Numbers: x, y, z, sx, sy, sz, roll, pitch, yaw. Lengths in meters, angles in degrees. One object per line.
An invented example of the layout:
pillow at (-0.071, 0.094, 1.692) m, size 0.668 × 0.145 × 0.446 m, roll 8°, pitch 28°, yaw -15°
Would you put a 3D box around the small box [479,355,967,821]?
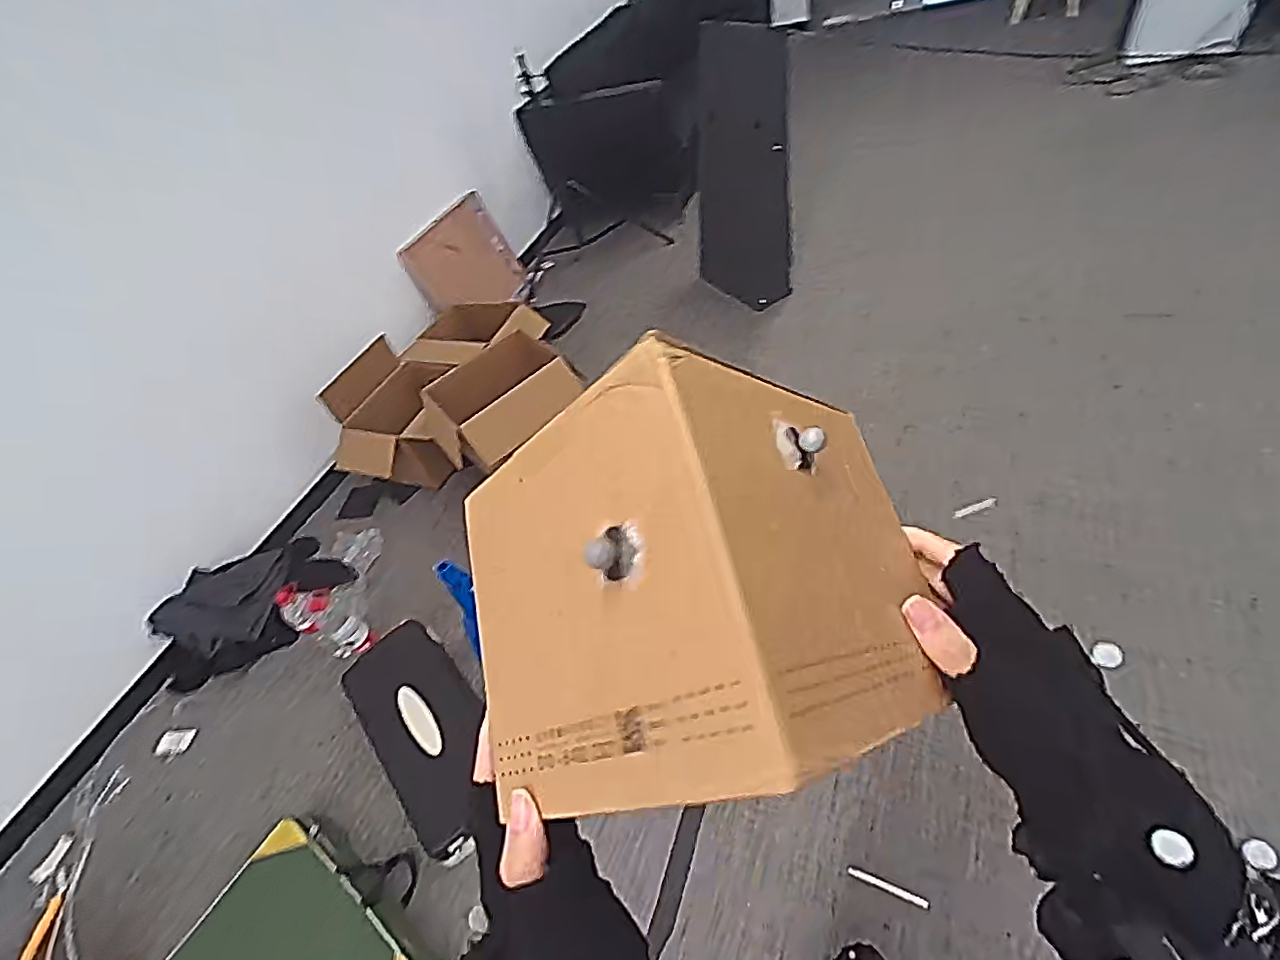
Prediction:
small box at (0.037, 0.065, 0.289) m, size 0.168 × 0.179 × 0.176 m, roll -34°, pitch 60°, yaw 41°
